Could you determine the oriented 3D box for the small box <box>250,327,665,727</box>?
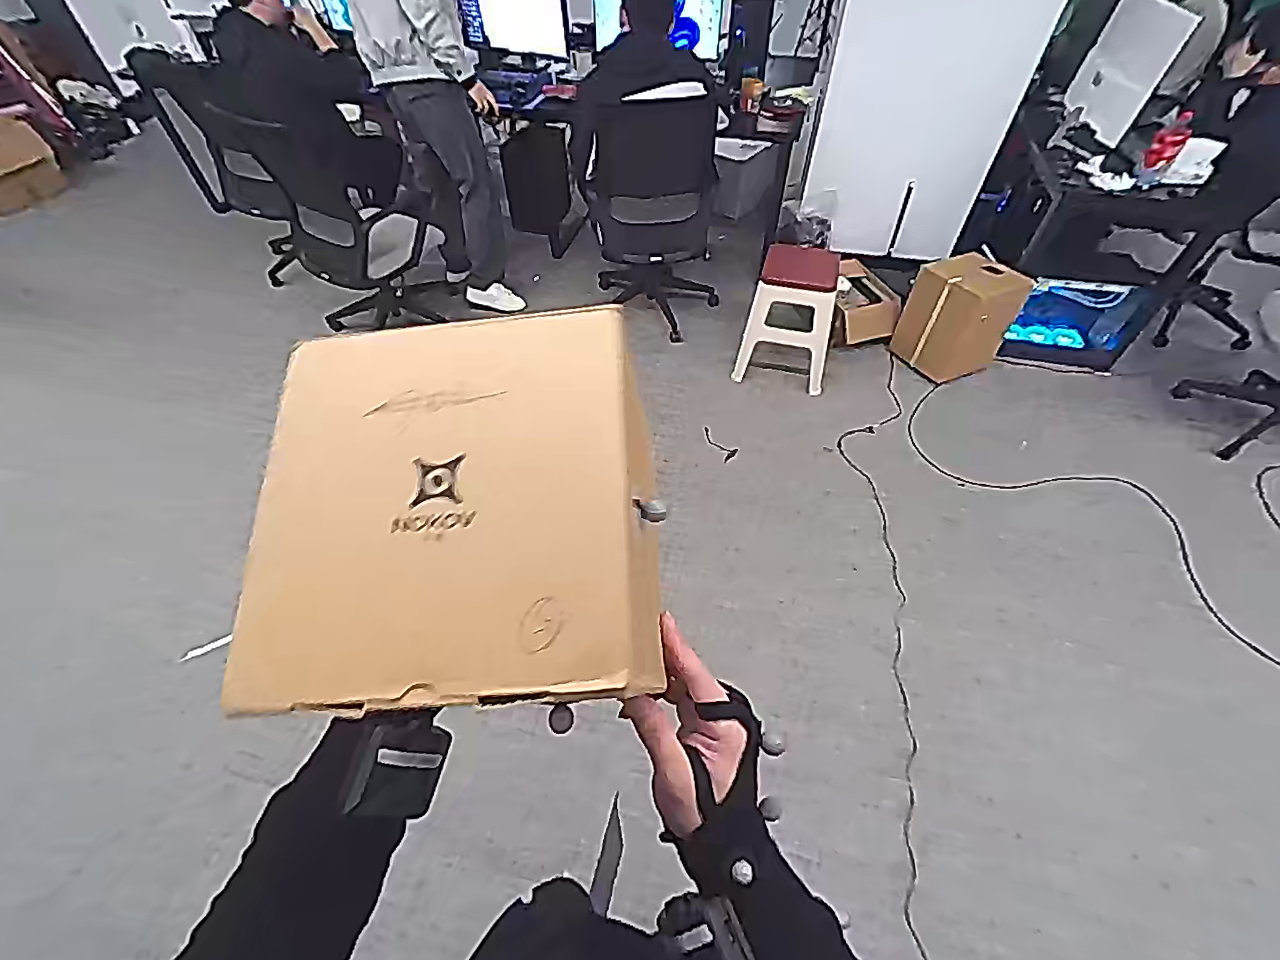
[{"bbox_3d":[-0.078,0.040,0.321,0.168,0.176,0.179,-6,68,5],"label":"small box"}]
